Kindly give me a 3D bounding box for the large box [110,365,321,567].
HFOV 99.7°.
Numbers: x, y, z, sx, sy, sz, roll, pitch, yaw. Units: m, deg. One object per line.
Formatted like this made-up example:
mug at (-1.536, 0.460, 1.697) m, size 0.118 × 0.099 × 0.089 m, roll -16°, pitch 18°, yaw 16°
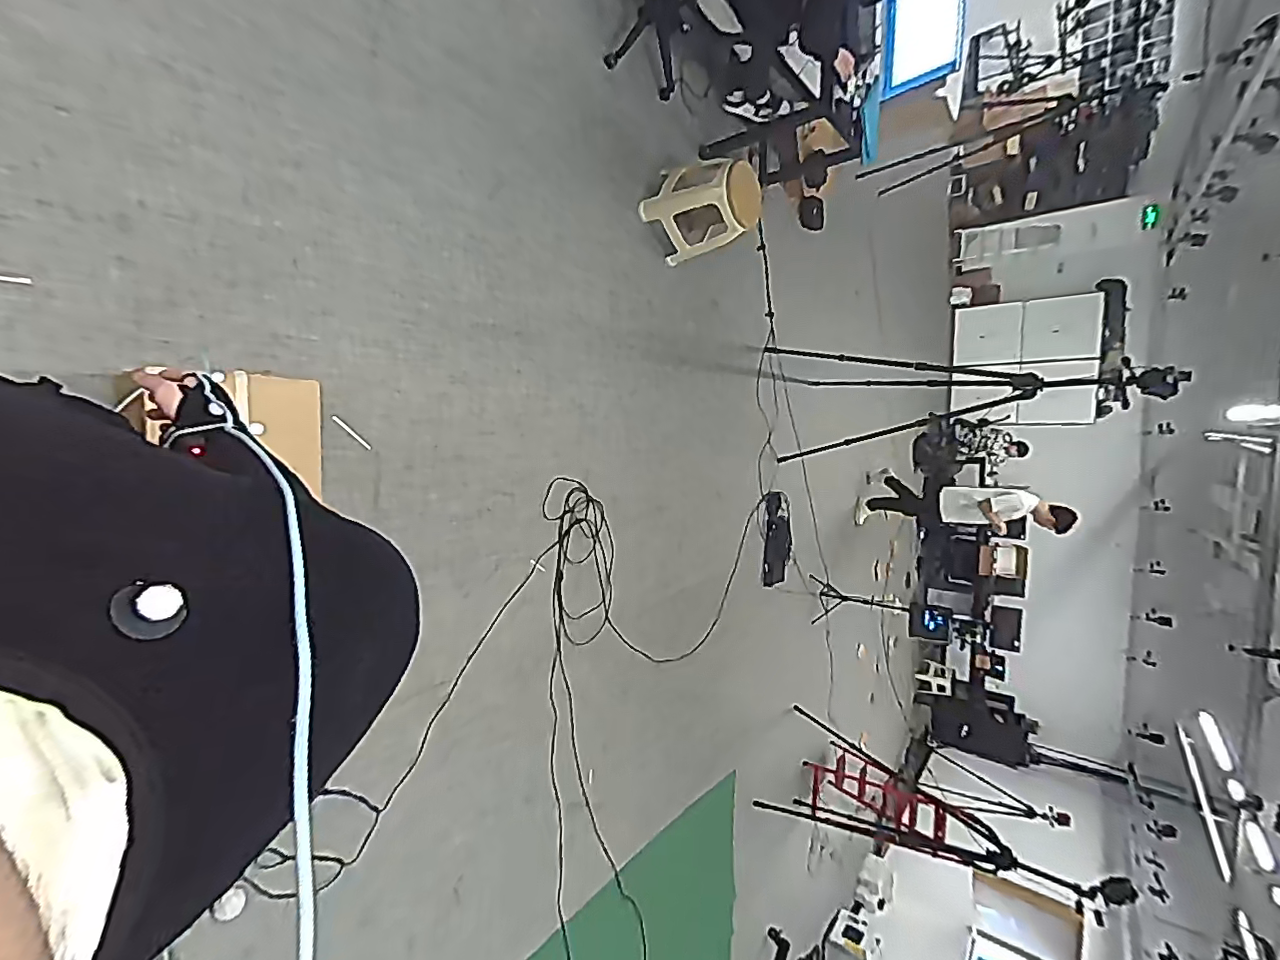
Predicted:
large box at (-0.977, -0.046, 1.254) m, size 0.320 × 0.320 × 0.408 m, roll -5°, pitch 98°, yaw -52°
